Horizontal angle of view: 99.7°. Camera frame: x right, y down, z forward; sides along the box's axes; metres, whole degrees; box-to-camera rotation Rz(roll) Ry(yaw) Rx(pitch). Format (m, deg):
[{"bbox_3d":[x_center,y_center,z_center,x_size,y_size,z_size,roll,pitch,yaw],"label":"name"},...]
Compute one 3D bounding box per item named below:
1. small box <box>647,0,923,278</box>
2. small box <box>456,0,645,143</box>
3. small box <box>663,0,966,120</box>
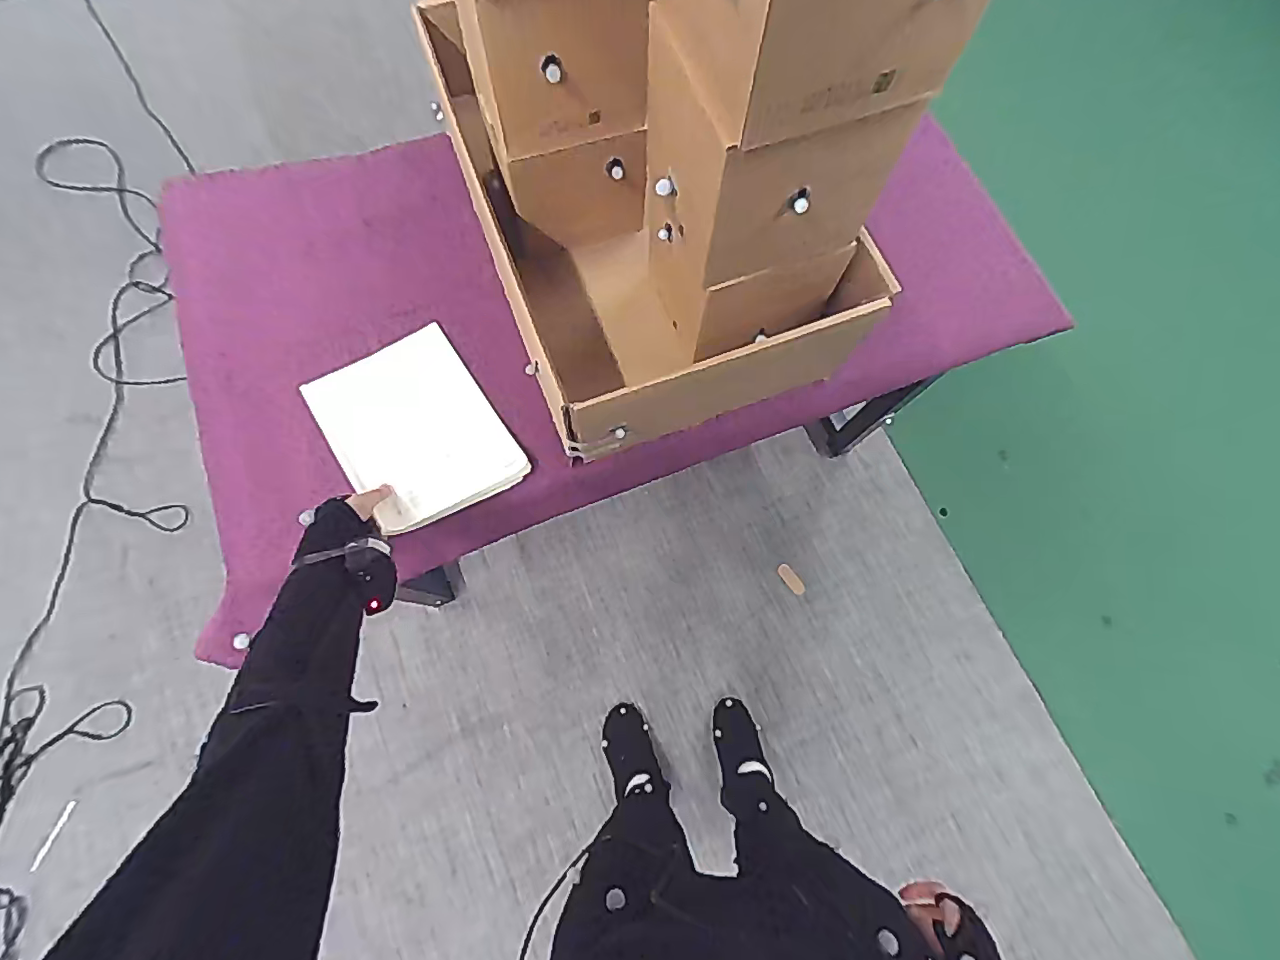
[{"bbox_3d":[0.112,-0.324,0.505,0.179,0.176,0.168,-19,74,-6],"label":"small box"},{"bbox_3d":[-0.095,-0.481,0.551,0.168,0.176,0.179,-19,77,-8],"label":"small box"},{"bbox_3d":[0.118,-0.371,0.349,0.168,0.176,0.179,-19,73,-7],"label":"small box"}]
